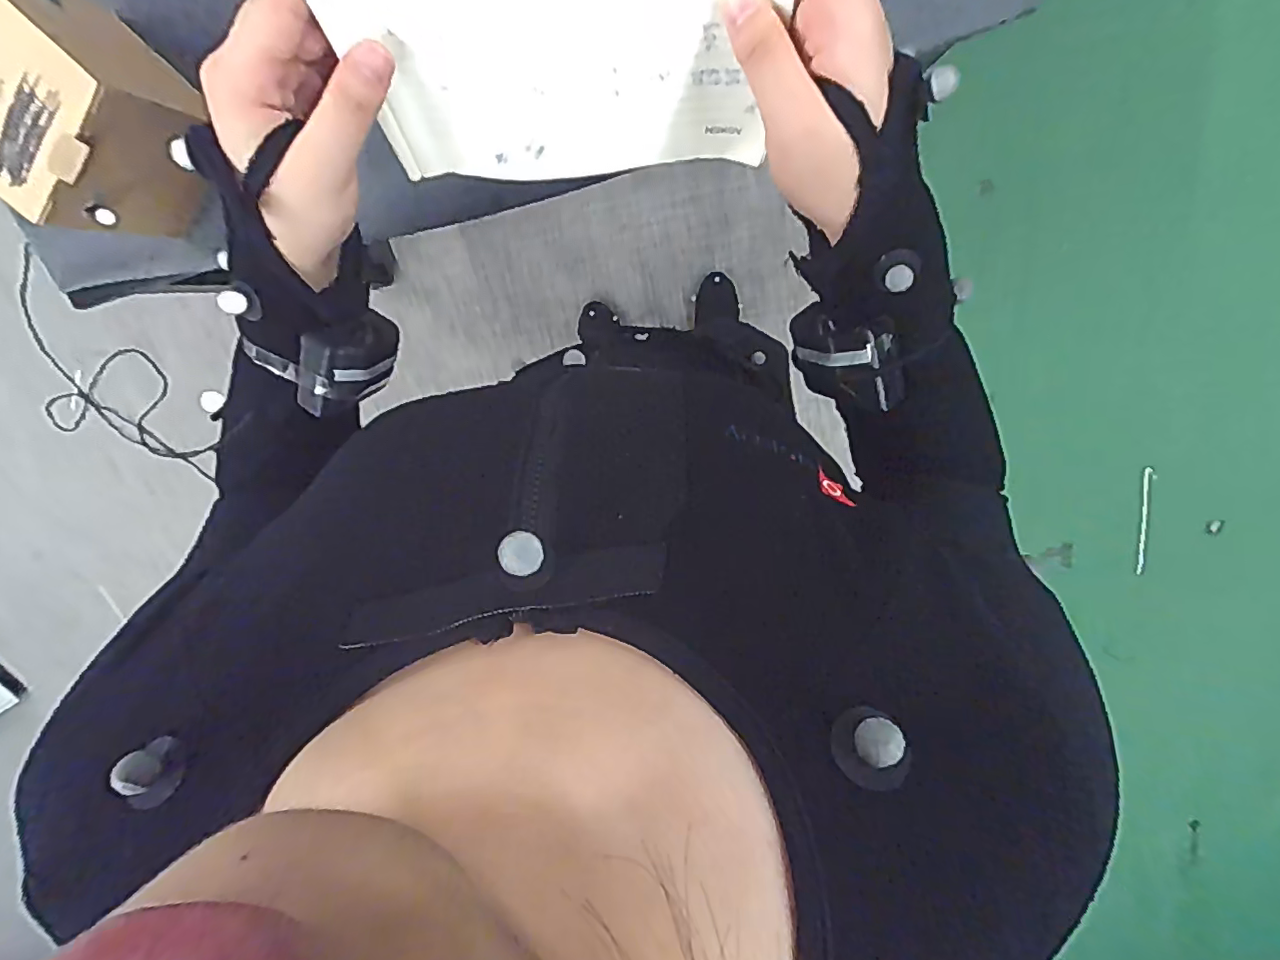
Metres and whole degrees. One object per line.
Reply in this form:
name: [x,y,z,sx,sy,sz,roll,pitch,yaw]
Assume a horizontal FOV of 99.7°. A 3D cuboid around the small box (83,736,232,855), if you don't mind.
small box: [-1.175,0.765,1.331,0.168,0.176,0.179,-29,105,13]
